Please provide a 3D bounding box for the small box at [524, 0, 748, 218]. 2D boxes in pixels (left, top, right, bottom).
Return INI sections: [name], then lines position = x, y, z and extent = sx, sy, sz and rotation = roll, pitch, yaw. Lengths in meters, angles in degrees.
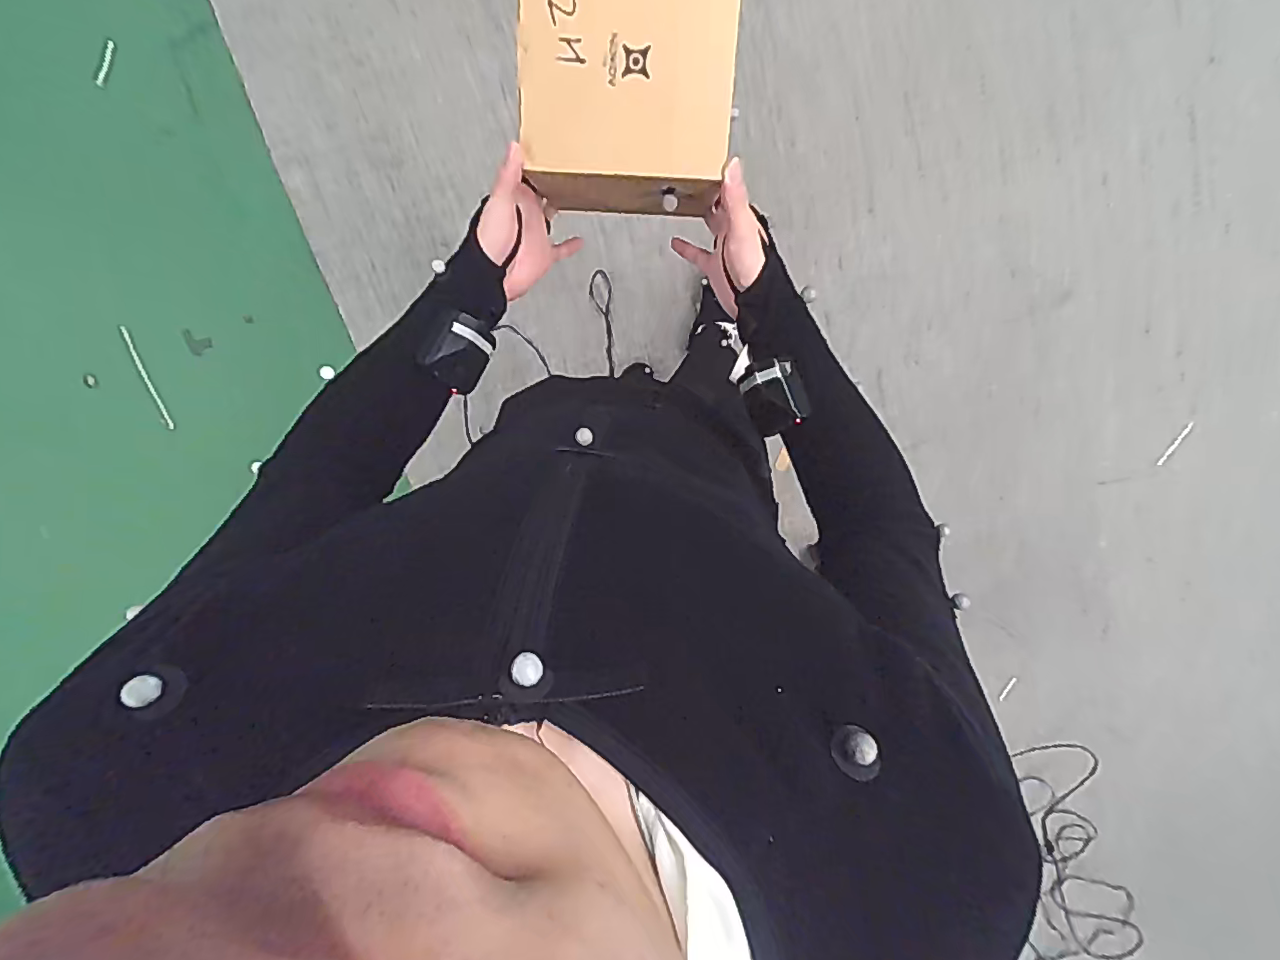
[small box]
position = -0.004, -0.353, 0.507
extent = 0.179, 0.176, 0.168
rotation = 4, 105, 1
